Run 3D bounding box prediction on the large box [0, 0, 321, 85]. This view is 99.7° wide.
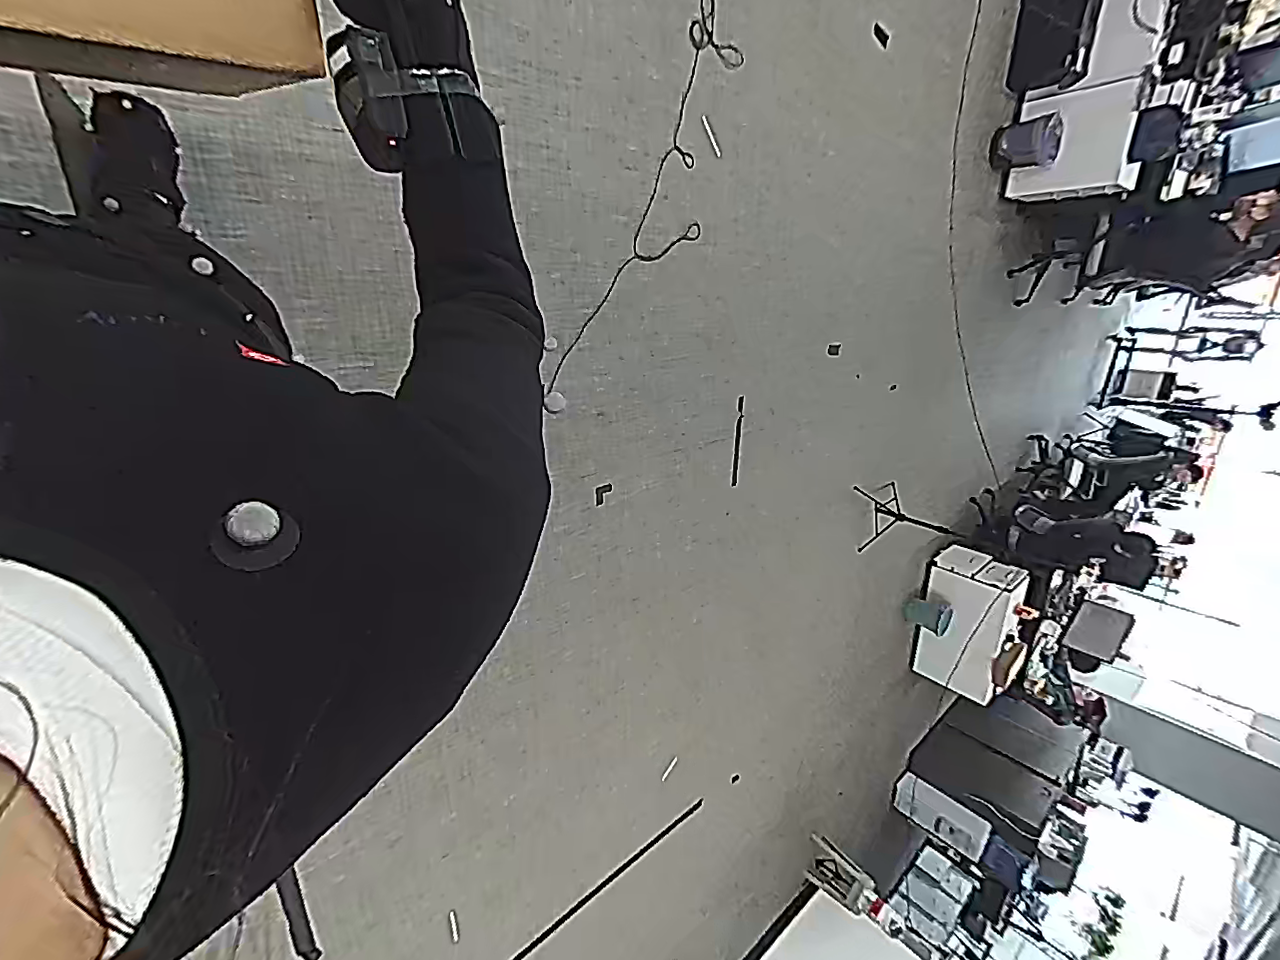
[{"bbox_3d":[-0.446,-0.406,0.254,0.408,0.320,0.320,-21,130,-38],"label":"large box"}]
